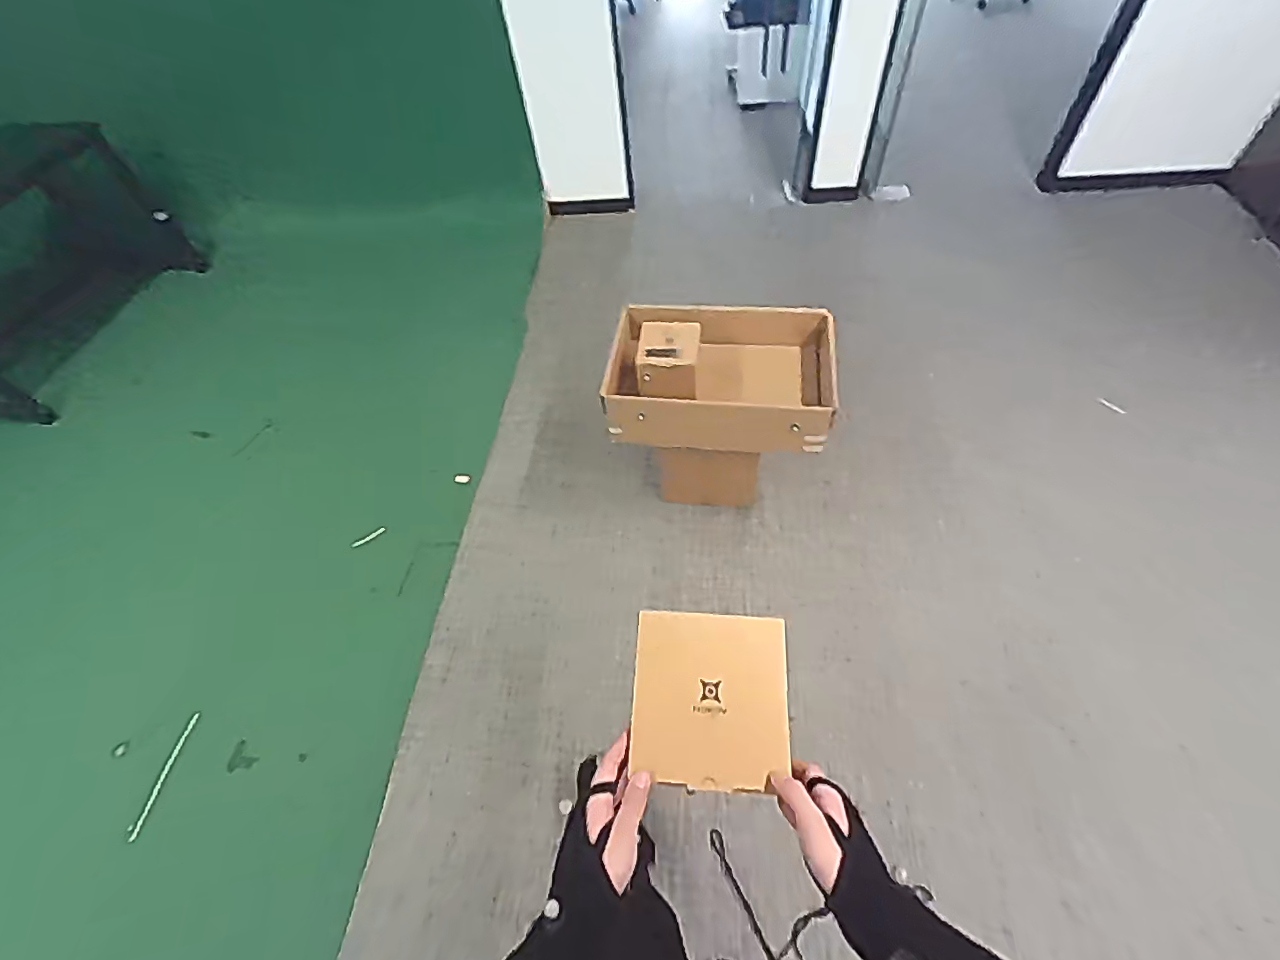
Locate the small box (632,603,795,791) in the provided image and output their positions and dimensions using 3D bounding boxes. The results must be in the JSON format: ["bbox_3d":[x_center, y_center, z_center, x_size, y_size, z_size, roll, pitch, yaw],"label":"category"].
[{"bbox_3d":[0.081,0.257,0.644,0.168,0.176,0.179,3,65,4],"label":"small box"}]
